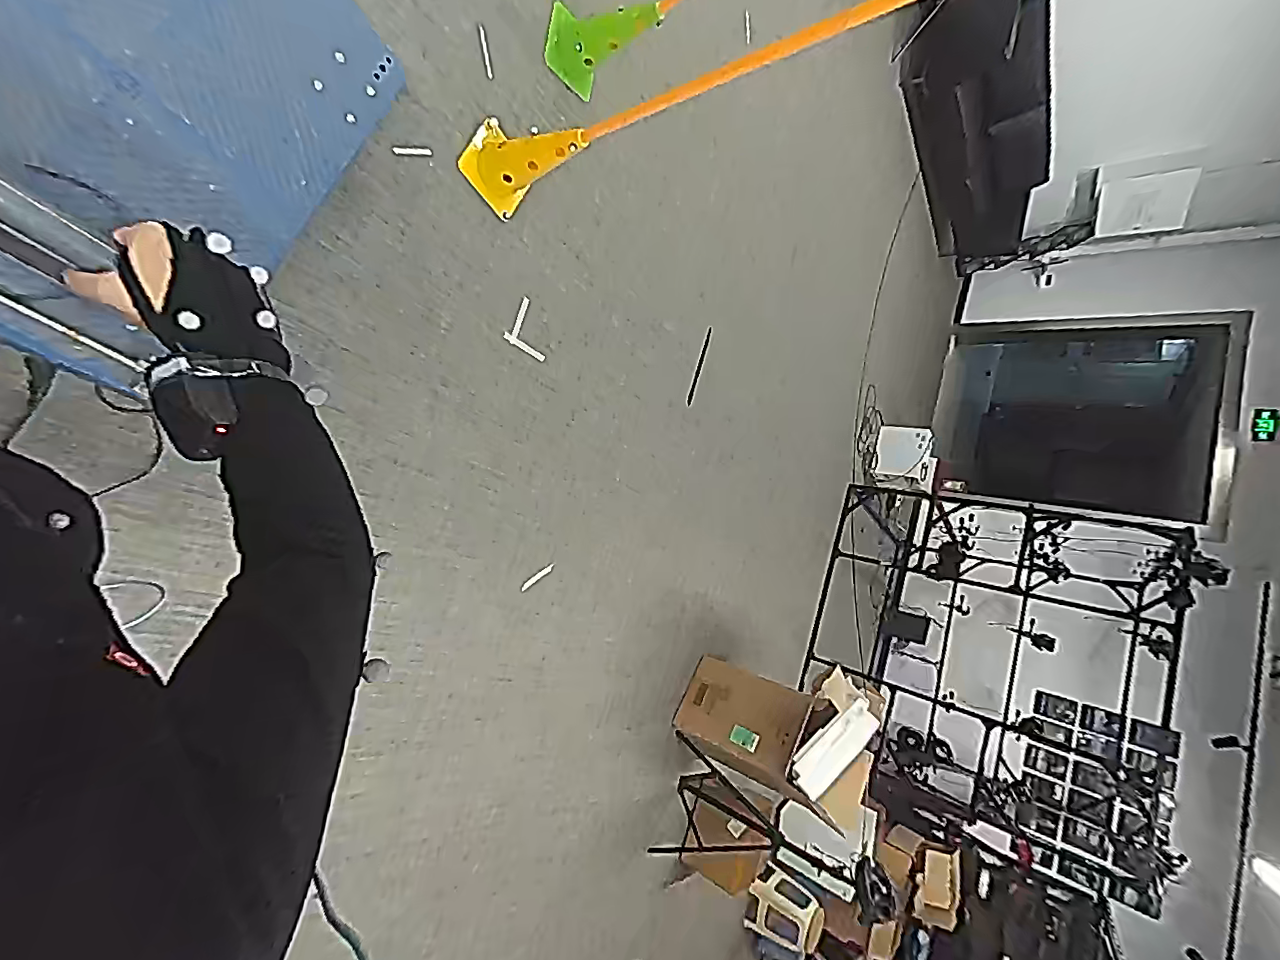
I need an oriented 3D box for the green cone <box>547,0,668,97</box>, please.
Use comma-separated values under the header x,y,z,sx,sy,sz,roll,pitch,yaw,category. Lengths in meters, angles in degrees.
x,y,z,sx,sy,sz,roll,pitch,yaw,category
-0.074,-1.331,1.598,0.200,0.368,0.202,9,92,-52,green cone
